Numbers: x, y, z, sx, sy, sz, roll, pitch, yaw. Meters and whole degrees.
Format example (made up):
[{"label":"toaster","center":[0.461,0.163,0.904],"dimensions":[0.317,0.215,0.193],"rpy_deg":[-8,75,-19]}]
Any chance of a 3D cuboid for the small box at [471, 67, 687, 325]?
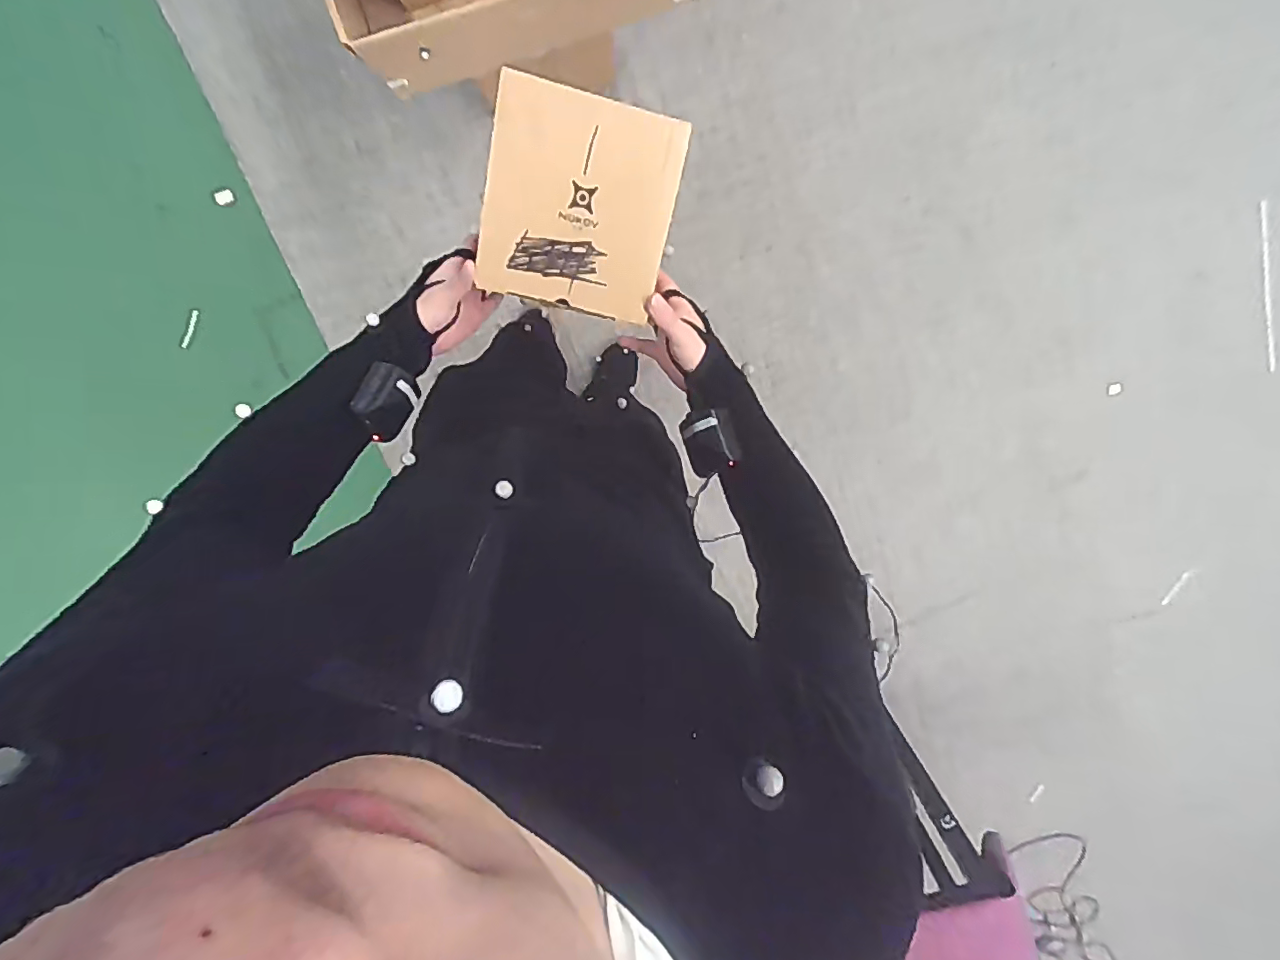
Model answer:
[{"label":"small box","center":[-0.062,-0.271,0.556],"dimensions":[0.168,0.176,0.179],"rpy_deg":[11,108,-9]}]
